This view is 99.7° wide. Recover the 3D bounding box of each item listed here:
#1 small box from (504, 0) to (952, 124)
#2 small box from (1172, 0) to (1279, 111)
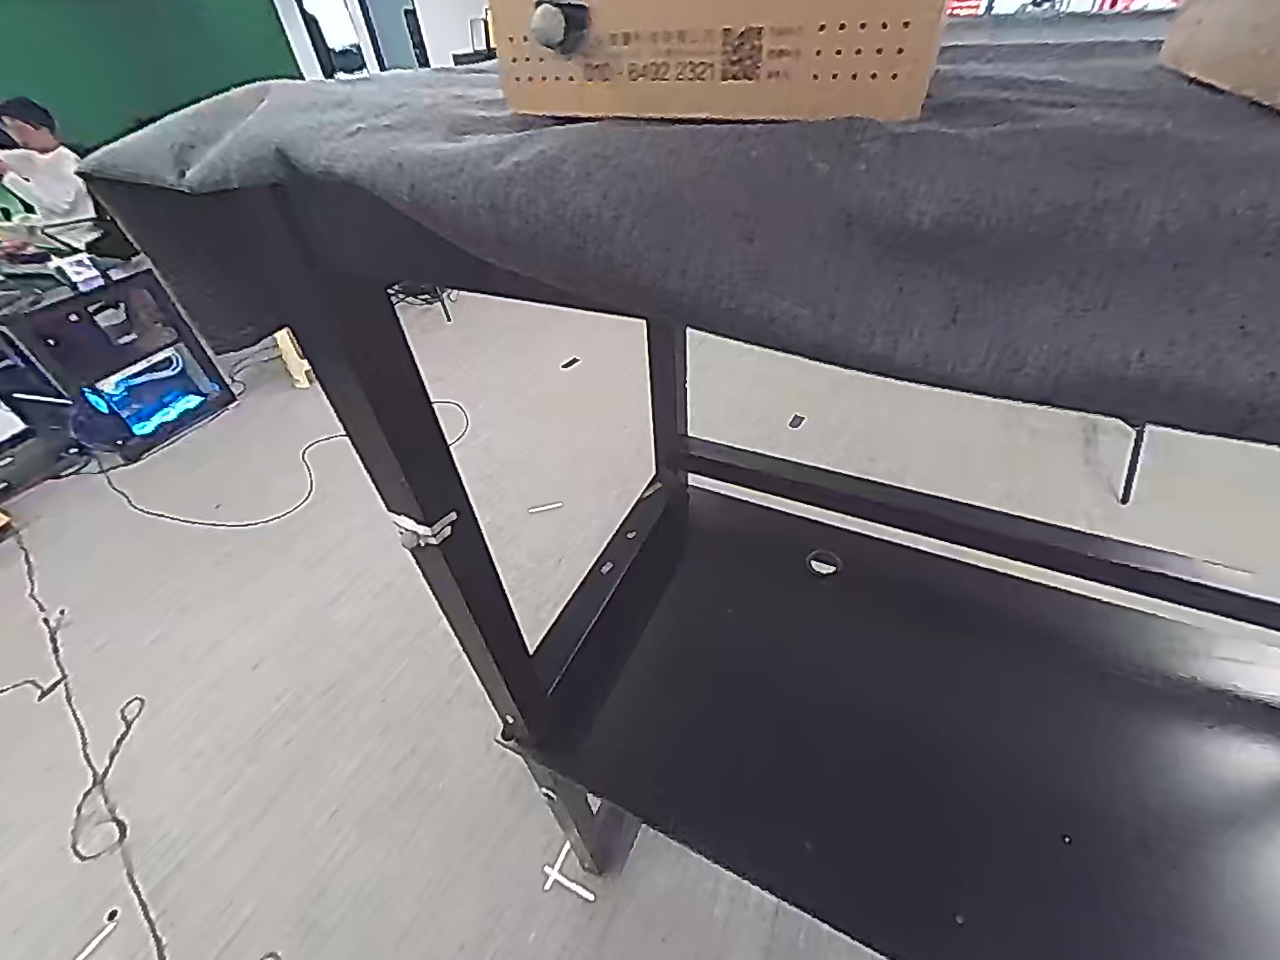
[{"bbox_3d":[0.048,-0.250,0.213,0.168,0.176,0.179,15,43,19],"label":"small box"},{"bbox_3d":[0.280,-0.188,0.124,0.168,0.176,0.179,15,44,21],"label":"small box"}]
